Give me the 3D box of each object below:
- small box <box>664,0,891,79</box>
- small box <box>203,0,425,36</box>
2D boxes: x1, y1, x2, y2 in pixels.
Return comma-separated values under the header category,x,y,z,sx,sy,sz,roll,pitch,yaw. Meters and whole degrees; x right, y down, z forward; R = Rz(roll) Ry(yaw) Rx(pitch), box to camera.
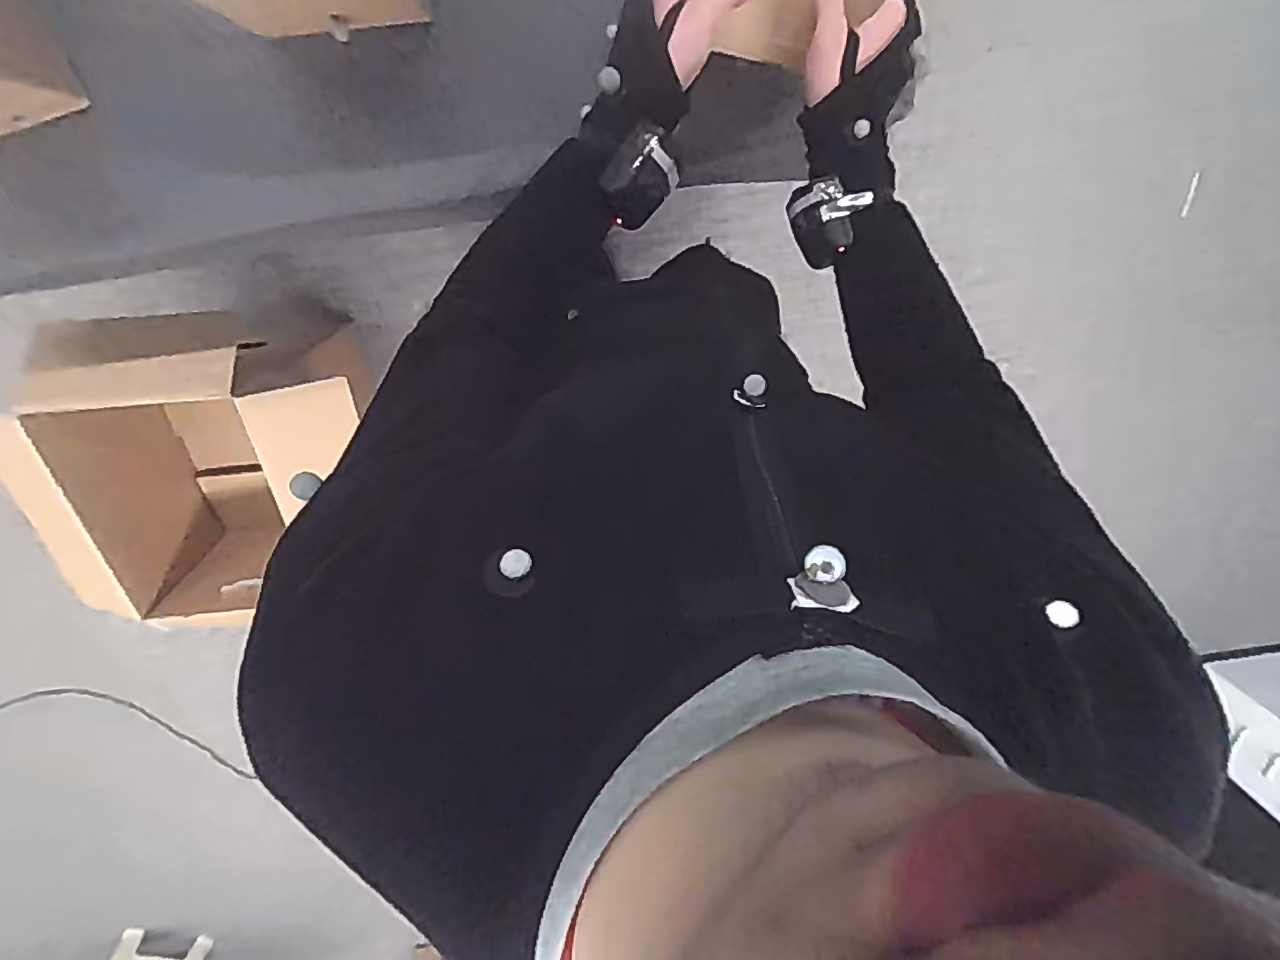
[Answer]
category,x,y,z,sx,sy,sz,roll,pitch,yaw
small box,0.119,-0.467,0.449,0.179,0.176,0.168,7,138,-8
small box,-0.294,-0.501,0.451,0.179,0.176,0.168,-9,118,-3
